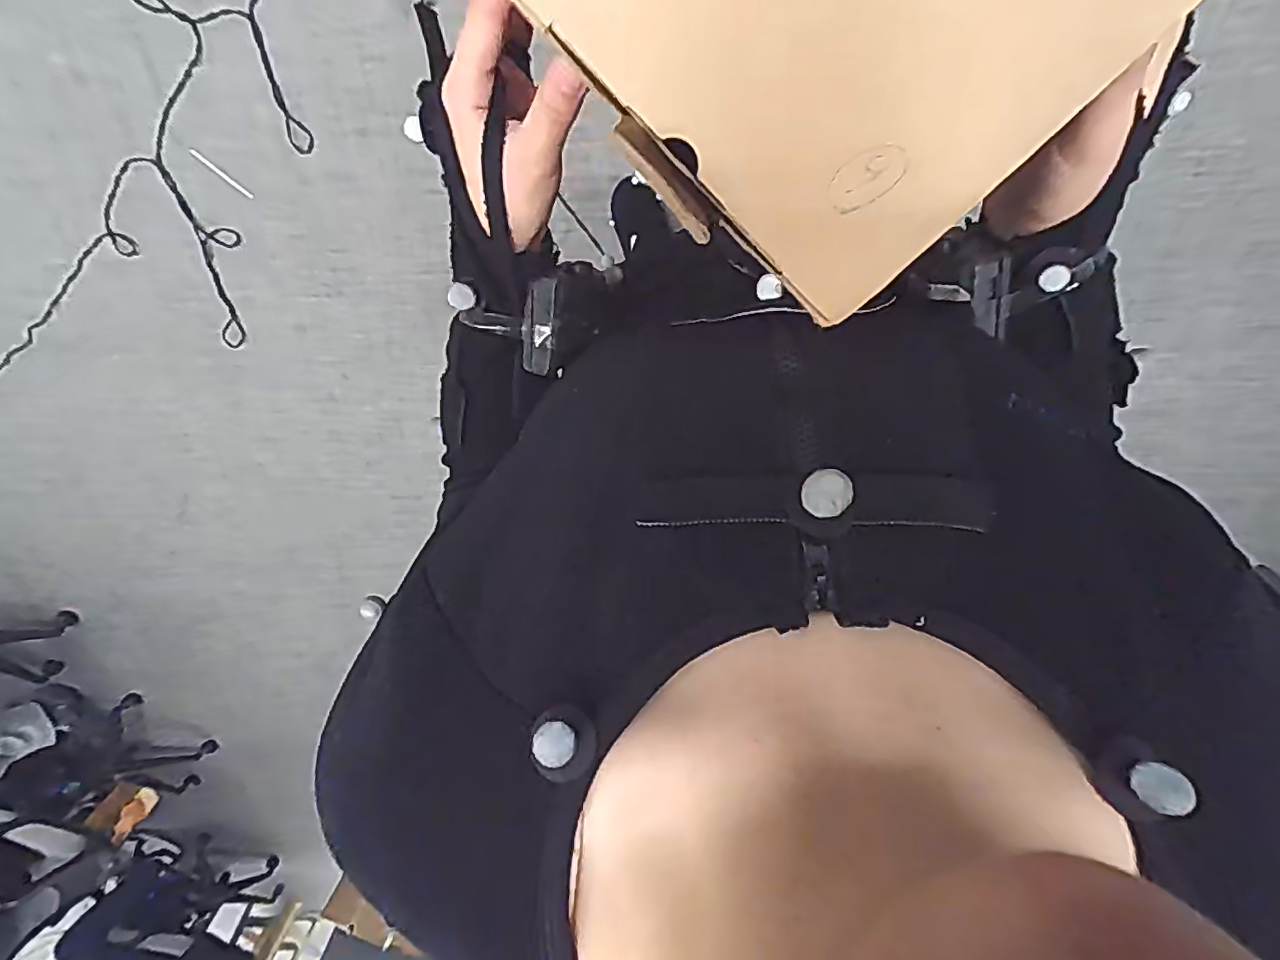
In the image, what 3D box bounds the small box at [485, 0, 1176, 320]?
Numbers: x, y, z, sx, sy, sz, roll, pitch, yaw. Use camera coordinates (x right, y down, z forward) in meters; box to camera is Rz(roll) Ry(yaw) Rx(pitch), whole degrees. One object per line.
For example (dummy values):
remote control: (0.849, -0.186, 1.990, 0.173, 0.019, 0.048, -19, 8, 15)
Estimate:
small box: (0.065, -0.202, 0.211, 0.168, 0.176, 0.179, 37, 118, -21)
